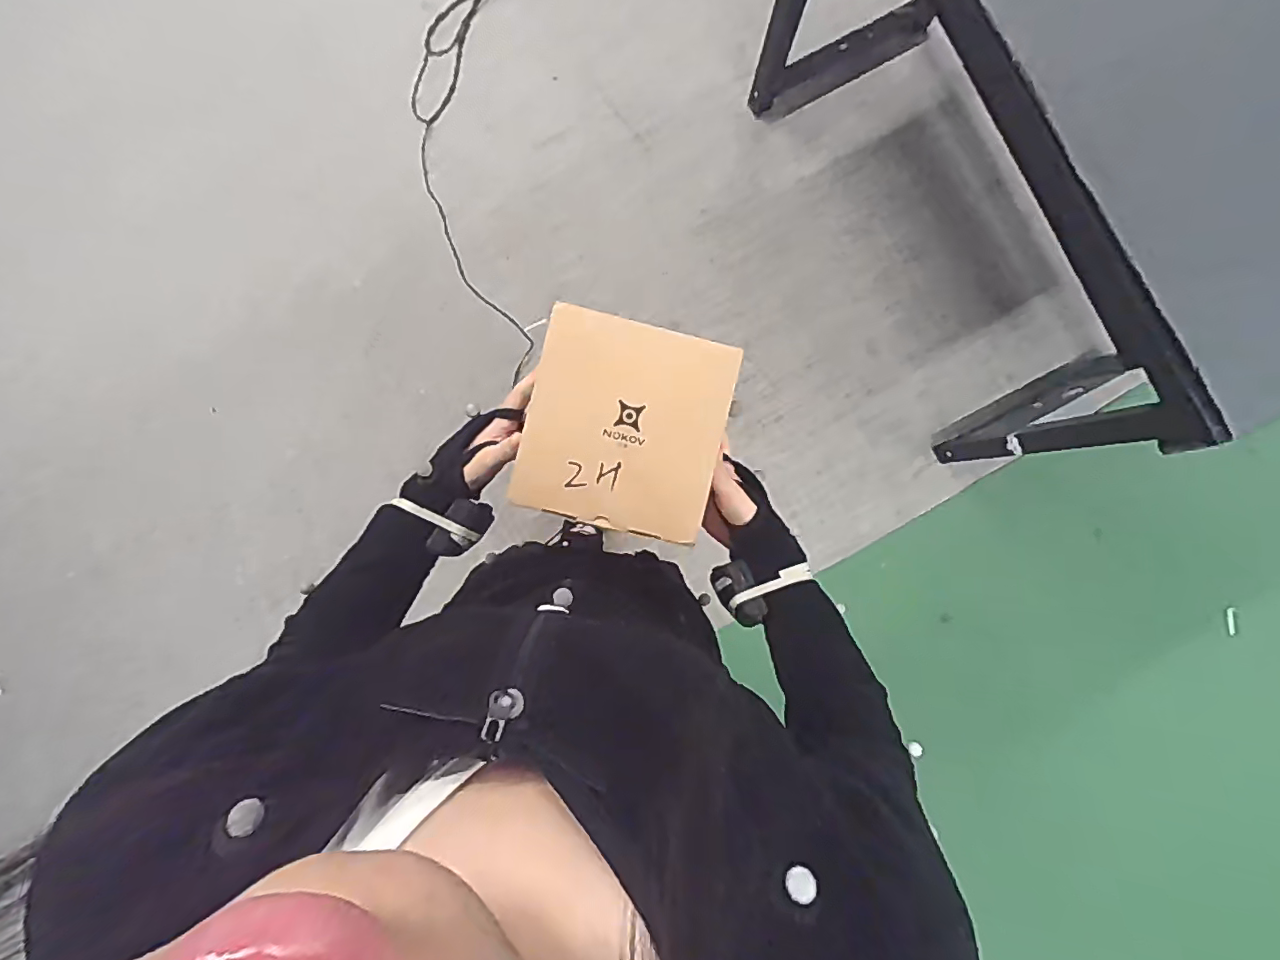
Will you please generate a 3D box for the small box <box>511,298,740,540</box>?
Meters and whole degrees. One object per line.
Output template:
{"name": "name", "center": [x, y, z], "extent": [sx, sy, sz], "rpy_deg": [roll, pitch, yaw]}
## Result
{"name": "small box", "center": [-0.016, -0.053, 0.538], "extent": [0.168, 0.176, 0.179], "rpy_deg": [14, 91, -3]}
